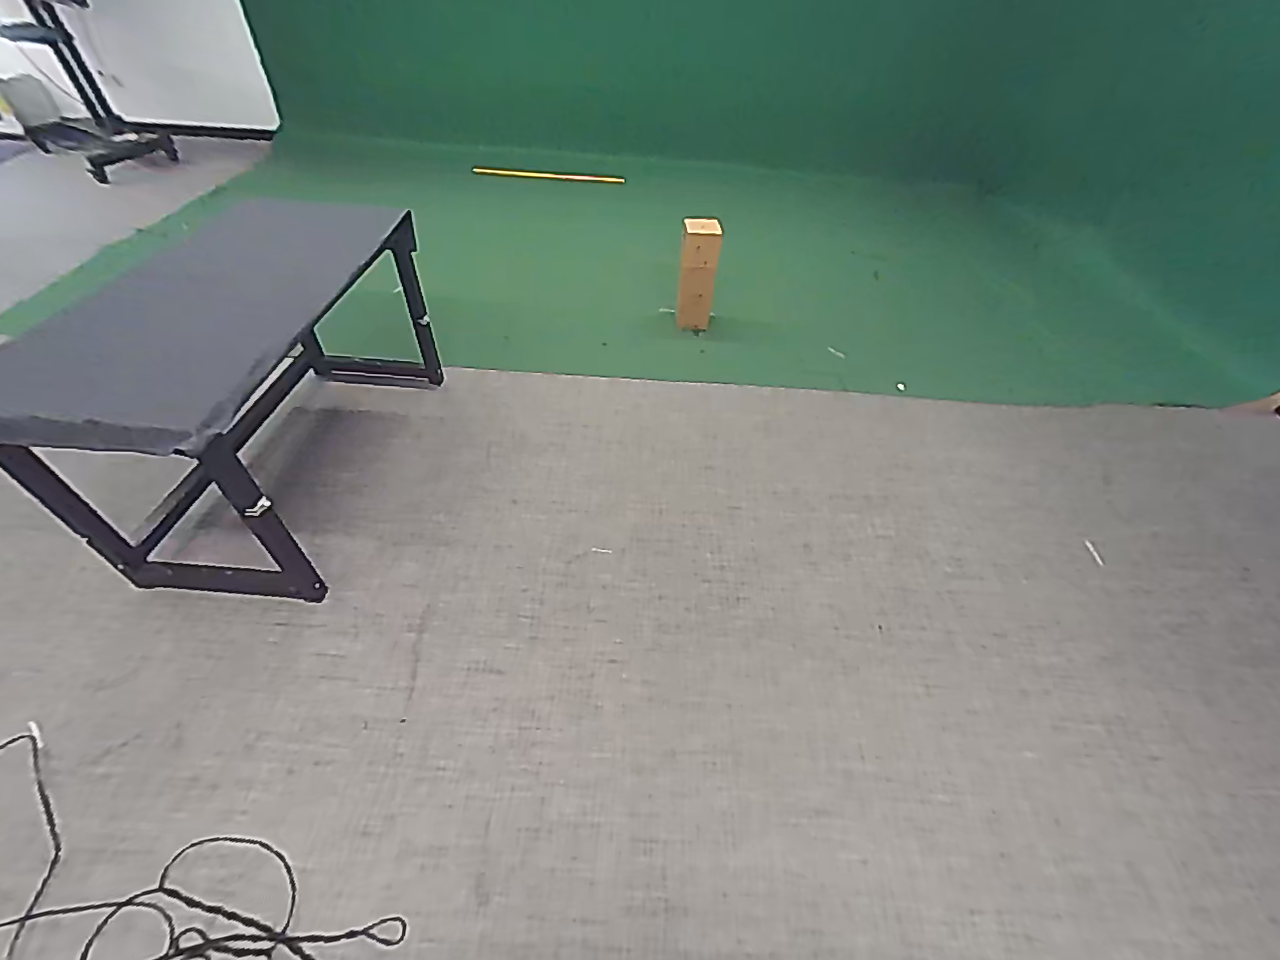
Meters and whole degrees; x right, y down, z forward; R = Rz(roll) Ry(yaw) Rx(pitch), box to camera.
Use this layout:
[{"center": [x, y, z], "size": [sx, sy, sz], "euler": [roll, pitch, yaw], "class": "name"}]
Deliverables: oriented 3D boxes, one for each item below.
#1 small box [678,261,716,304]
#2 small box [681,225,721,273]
[{"center": [0.287, -1.020, 2.769], "size": [0.168, 0.176, 0.179], "euler": [1, 45, -2], "class": "small box"}, {"center": [0.296, -1.132, 2.651], "size": [0.168, 0.176, 0.179], "euler": [0, 45, -4], "class": "small box"}]
